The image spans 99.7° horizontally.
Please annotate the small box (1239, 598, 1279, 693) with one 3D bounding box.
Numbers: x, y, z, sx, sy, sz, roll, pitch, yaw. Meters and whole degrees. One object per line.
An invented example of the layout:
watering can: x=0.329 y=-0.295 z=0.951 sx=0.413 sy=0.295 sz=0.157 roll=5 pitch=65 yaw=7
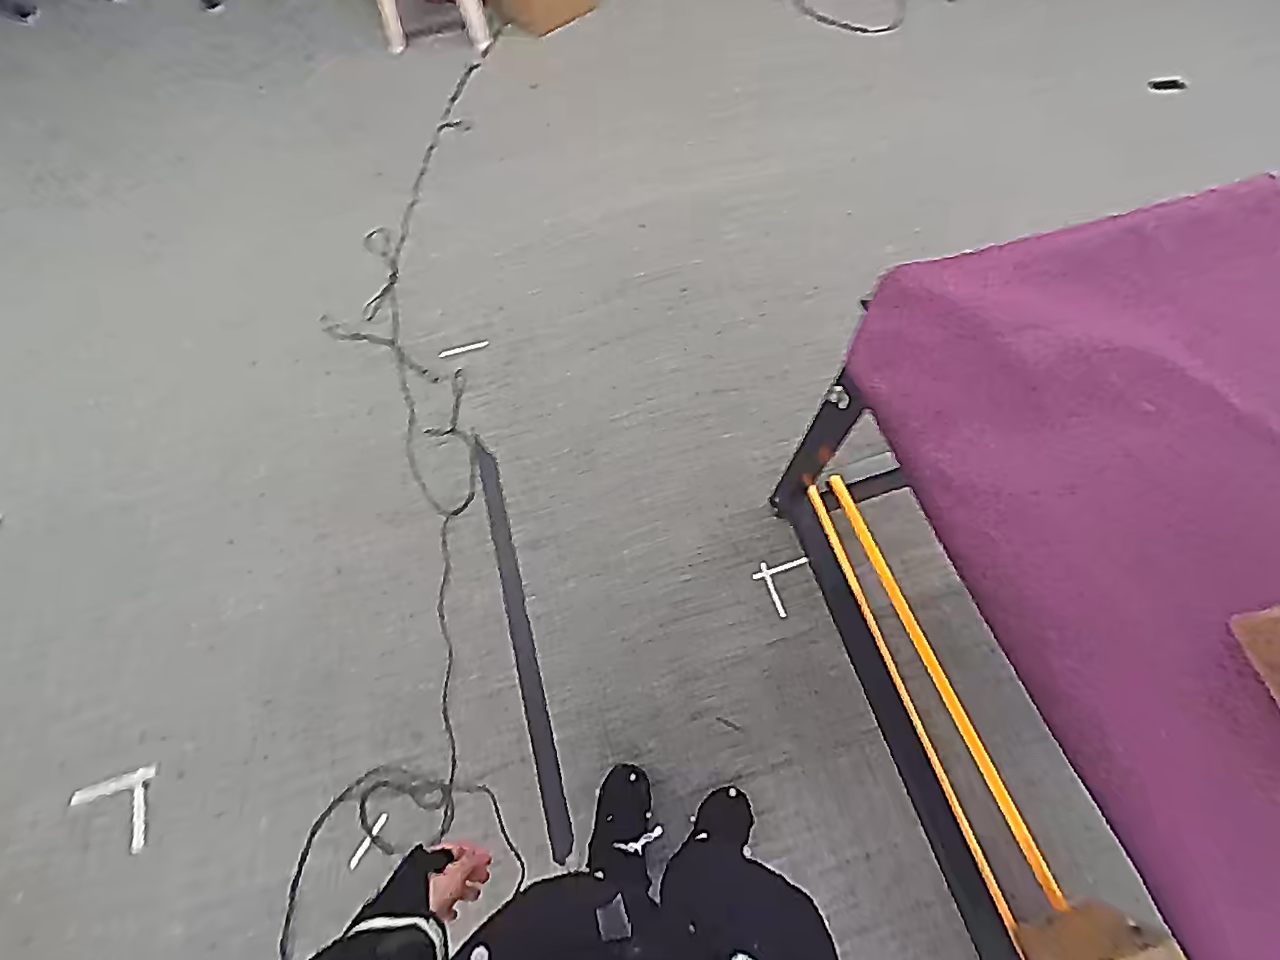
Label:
small box: x=0.697 y=0.157 z=0.451 sx=0.179 sy=0.176 sz=0.168 roll=-13 pitch=67 yaw=-3
